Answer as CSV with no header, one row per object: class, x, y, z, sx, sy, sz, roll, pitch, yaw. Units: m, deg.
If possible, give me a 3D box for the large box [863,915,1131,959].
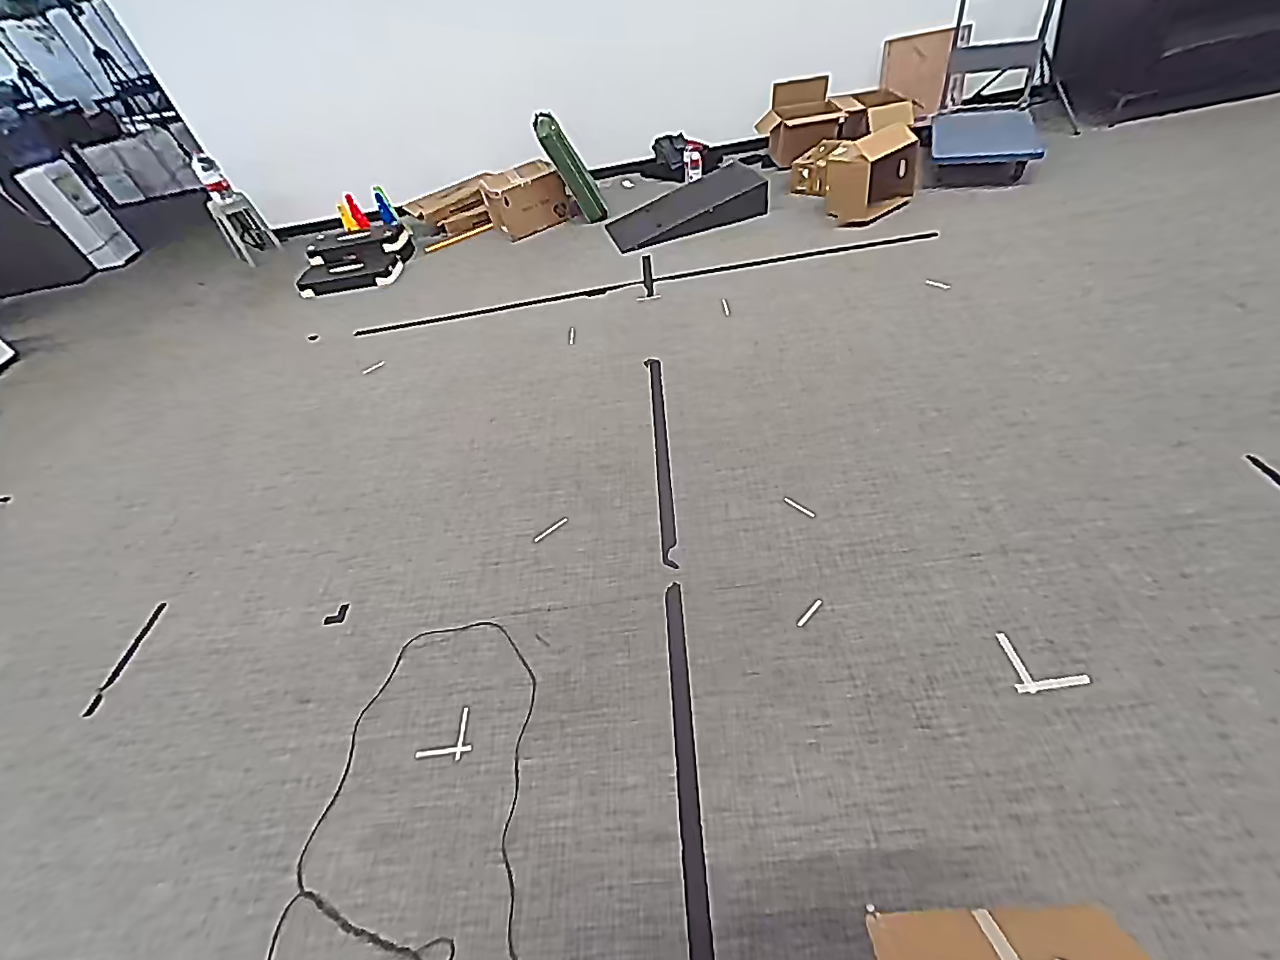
large box,0.463,0.750,0.556,0.320,0.408,0.320,-8,81,9
